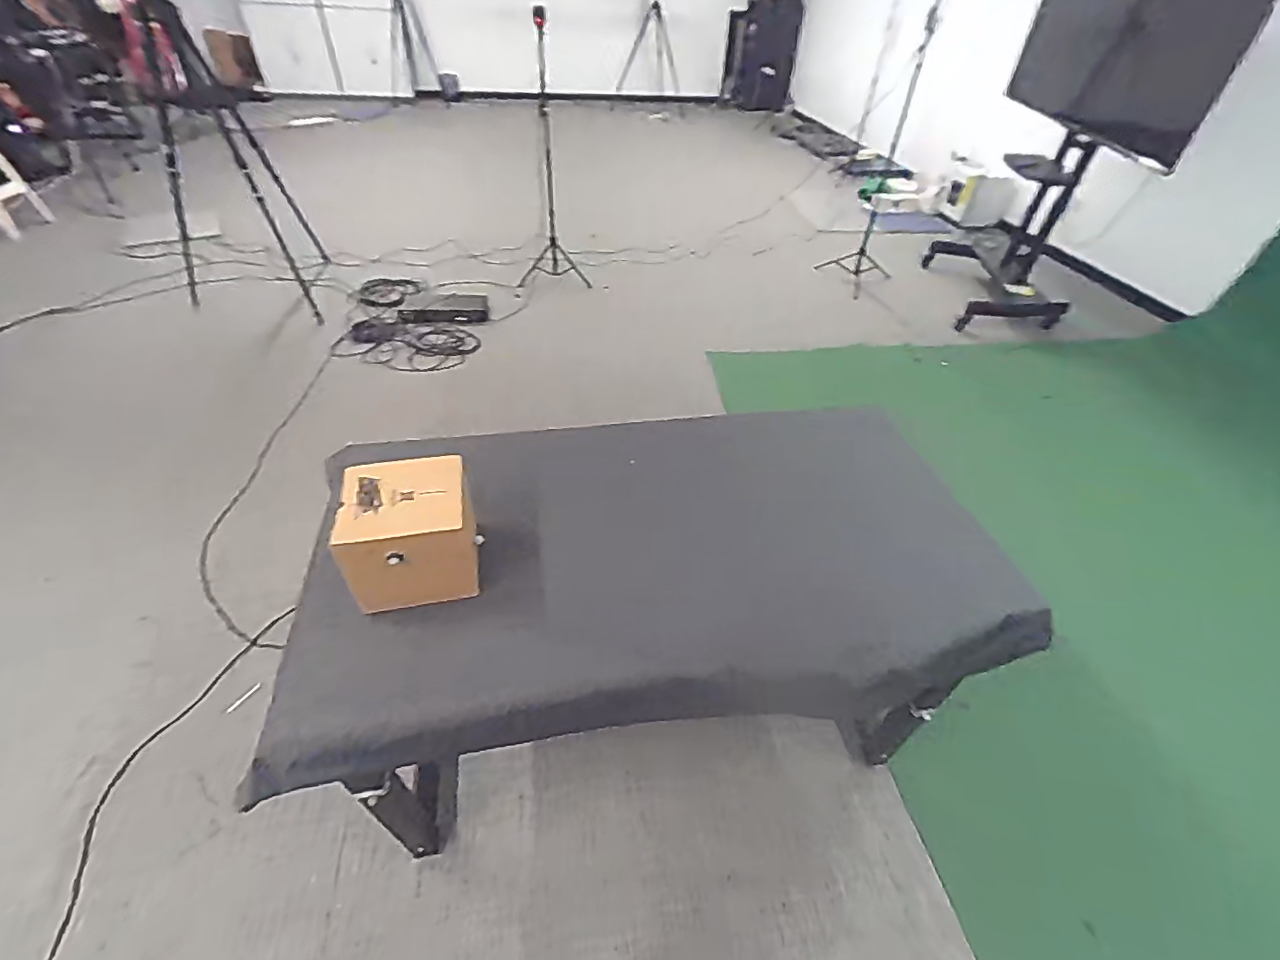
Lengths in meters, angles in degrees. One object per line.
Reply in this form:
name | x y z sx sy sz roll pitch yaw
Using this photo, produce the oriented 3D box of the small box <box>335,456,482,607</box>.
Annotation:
small box | -0.358 0.085 0.868 0.179 0.176 0.168 -7 45 -12
